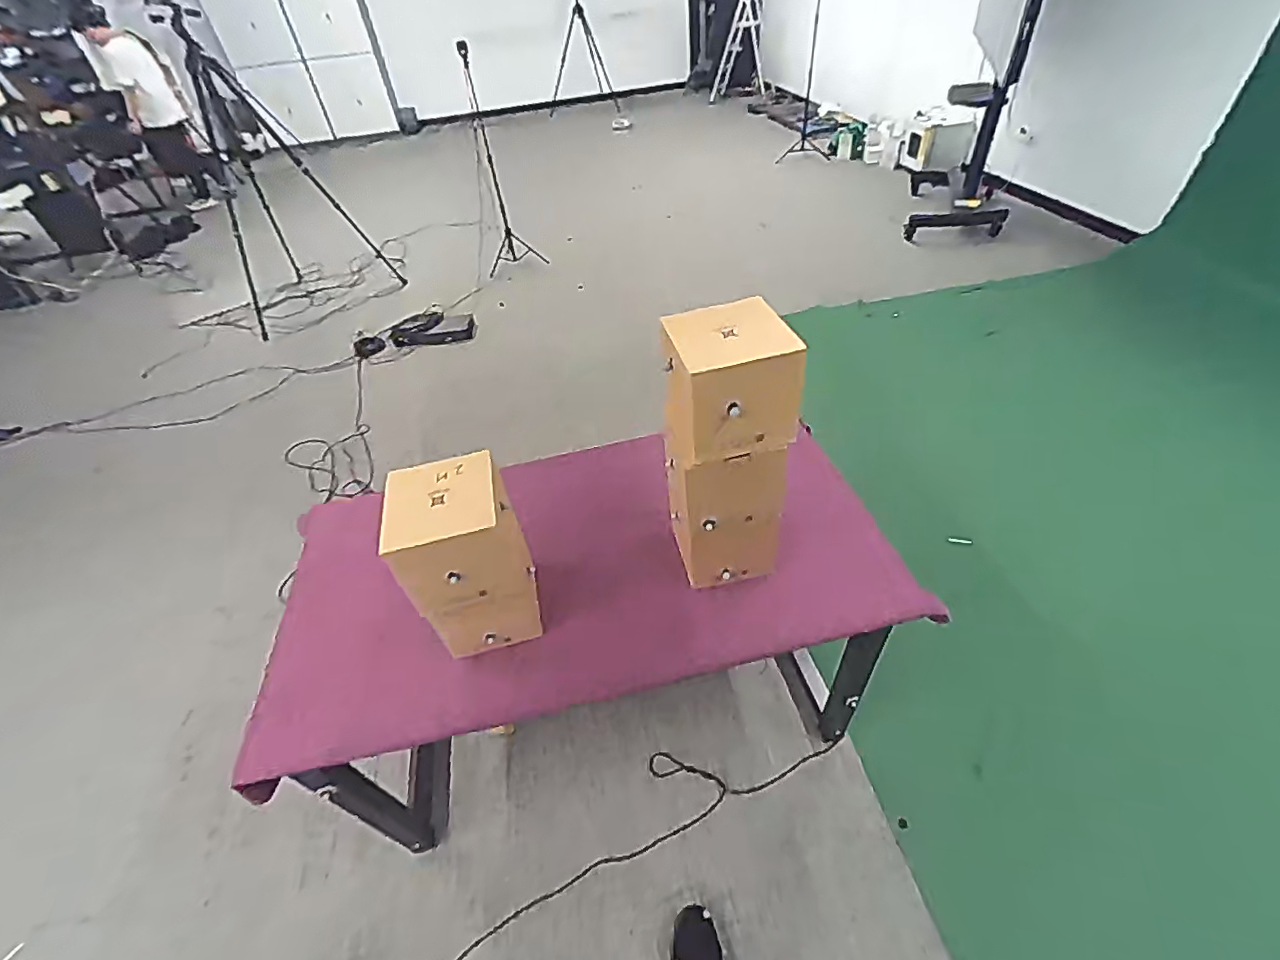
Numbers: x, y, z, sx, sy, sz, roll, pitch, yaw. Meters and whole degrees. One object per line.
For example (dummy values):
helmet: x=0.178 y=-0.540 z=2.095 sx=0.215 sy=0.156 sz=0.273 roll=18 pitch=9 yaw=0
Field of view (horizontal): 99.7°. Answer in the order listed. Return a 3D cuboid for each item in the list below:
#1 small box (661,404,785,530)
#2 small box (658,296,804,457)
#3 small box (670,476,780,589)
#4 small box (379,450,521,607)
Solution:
small box: x=0.141 y=-0.031 z=0.933 sx=0.168 sy=0.176 sz=0.179 roll=-12 pitch=42 yaw=-3
small box: x=0.134 y=-0.151 z=0.824 sx=0.168 sy=0.176 sz=0.179 roll=-14 pitch=42 yaw=-4
small box: x=0.158 y=0.084 z=1.049 sx=0.168 sy=0.176 sz=0.179 roll=-12 pitch=44 yaw=-3
small box: x=-0.296 y=0.084 z=0.870 sx=0.168 sy=0.176 sz=0.179 roll=-13 pitch=45 yaw=-7
